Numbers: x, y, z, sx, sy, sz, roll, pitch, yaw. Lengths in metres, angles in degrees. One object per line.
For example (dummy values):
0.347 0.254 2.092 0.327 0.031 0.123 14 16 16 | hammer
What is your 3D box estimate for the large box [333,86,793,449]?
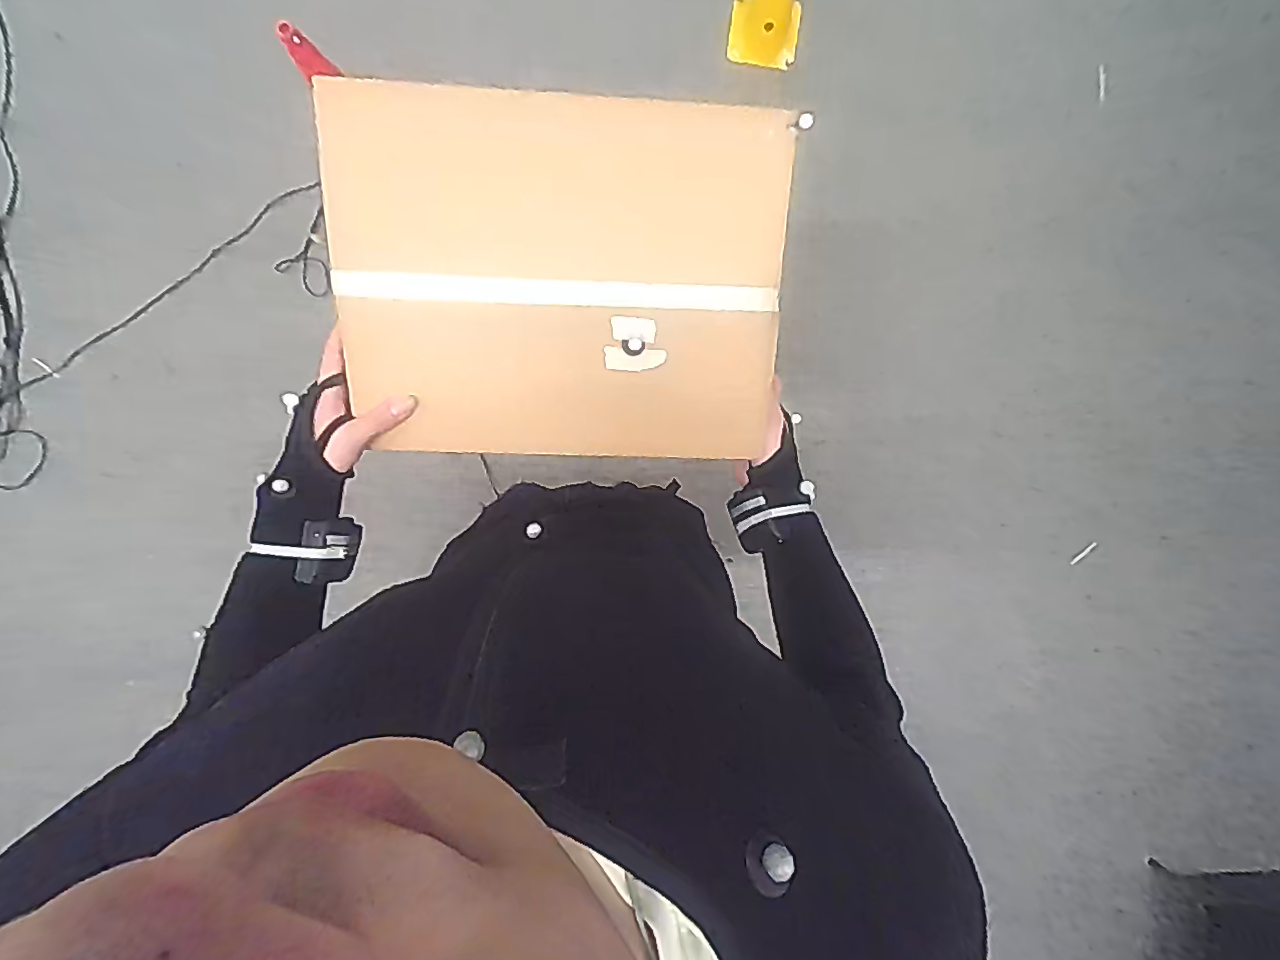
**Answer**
-0.077 -0.222 0.649 0.408 0.320 0.320 1 107 -5 | large box
